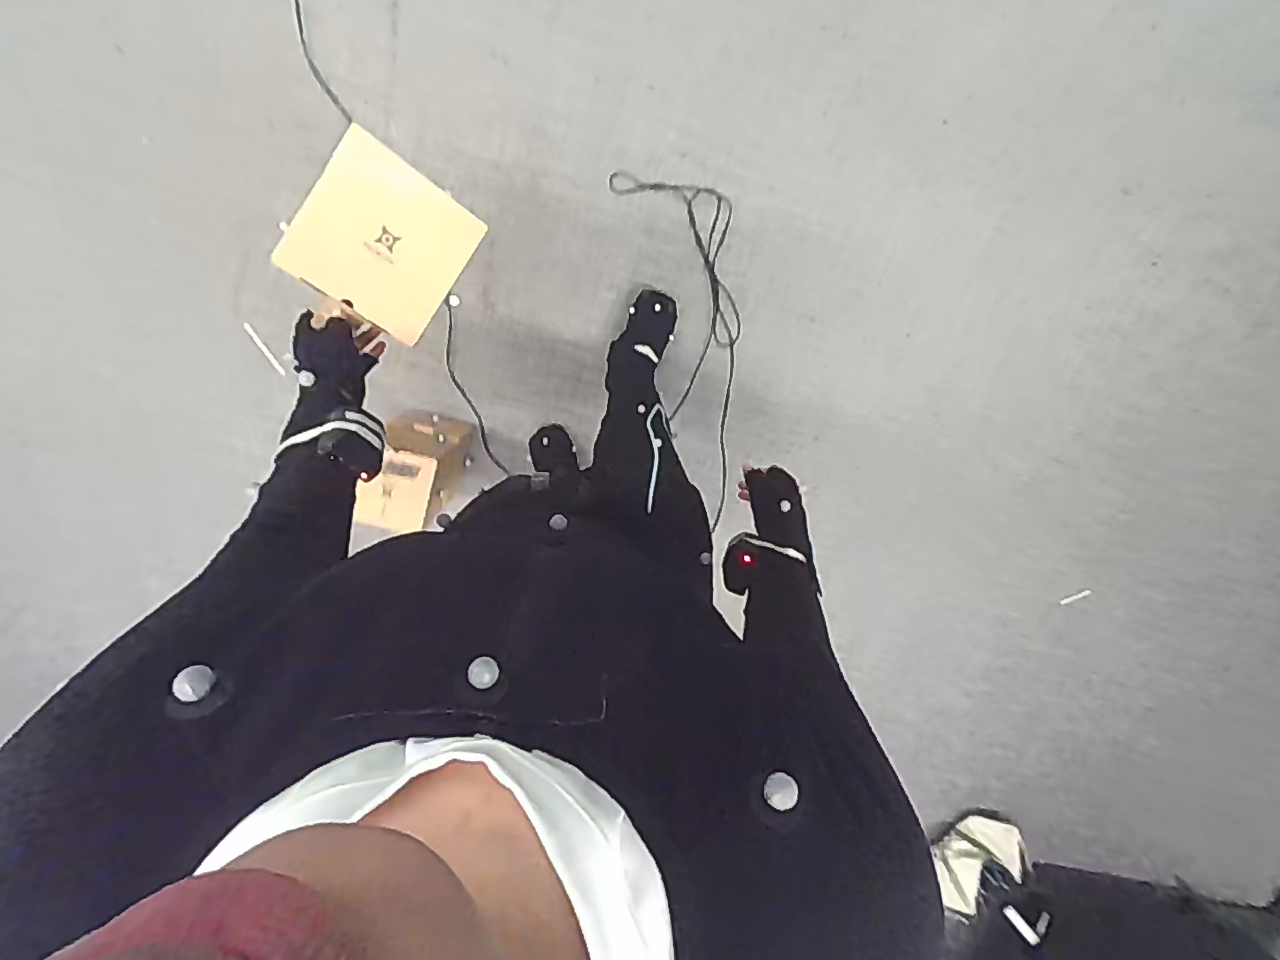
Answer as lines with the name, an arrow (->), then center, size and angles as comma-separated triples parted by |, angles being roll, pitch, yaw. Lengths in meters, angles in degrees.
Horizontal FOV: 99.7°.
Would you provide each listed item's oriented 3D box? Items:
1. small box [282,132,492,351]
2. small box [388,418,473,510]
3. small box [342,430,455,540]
small box -> -0.314, -0.292, 0.692 | 0.168, 0.176, 0.179 | 32, 95, -27
small box -> -0.526, -0.047, 1.344 | 0.168, 0.176, 0.179 | 14, 103, -5
small box -> -0.519, 0.002, 1.185 | 0.168, 0.176, 0.179 | 17, 105, -9
